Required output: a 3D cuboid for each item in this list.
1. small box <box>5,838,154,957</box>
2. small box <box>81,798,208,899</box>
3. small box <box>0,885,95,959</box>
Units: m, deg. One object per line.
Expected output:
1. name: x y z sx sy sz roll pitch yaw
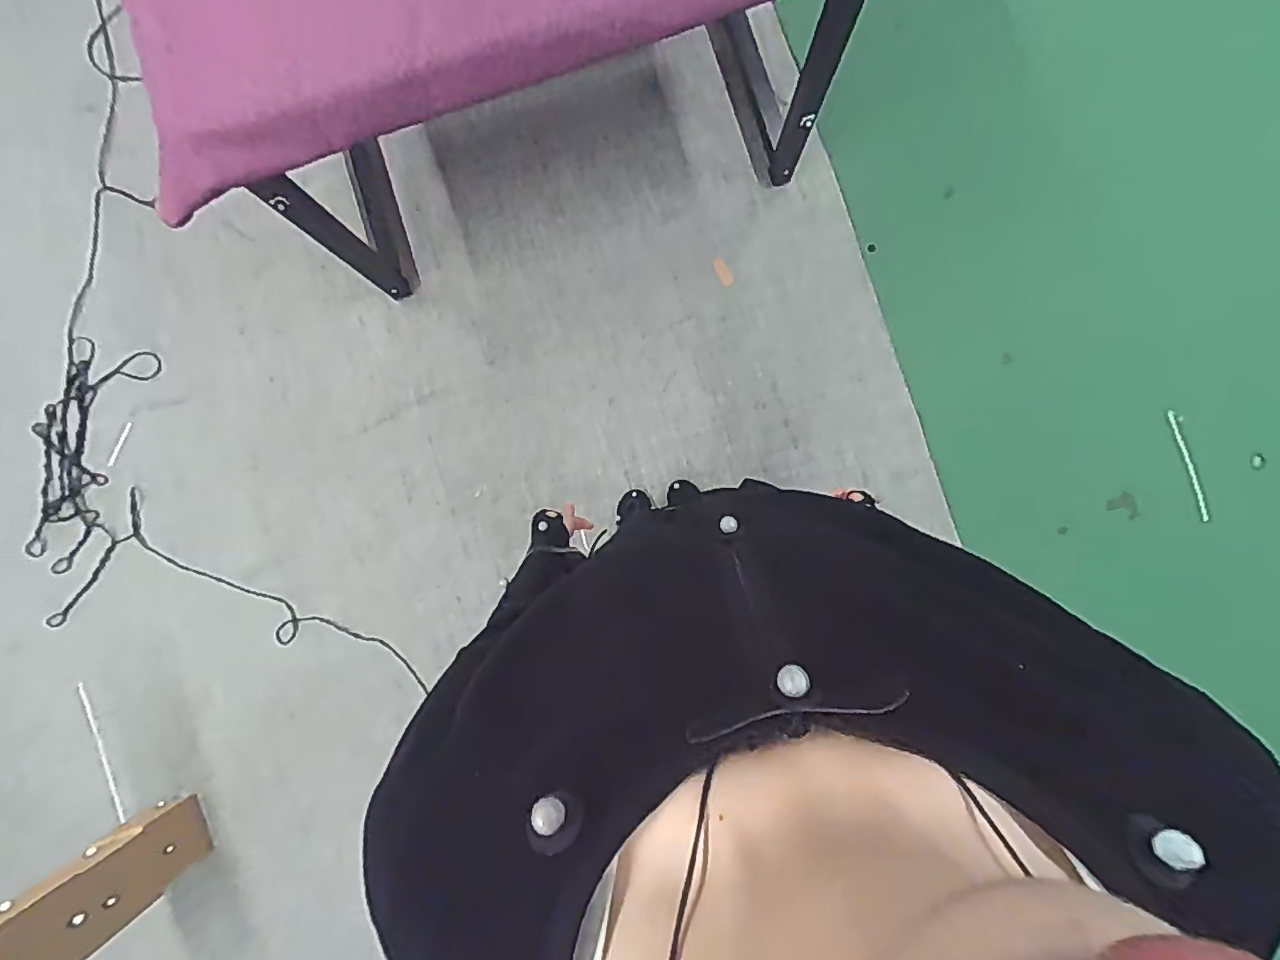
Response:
1. small box: -1.320 1.007 1.288 0.168 0.176 0.179 -19 88 0
2. small box: -1.318 1.002 1.452 0.168 0.176 0.179 -19 87 1
3. small box: -1.312 0.992 1.125 0.168 0.176 0.179 -21 87 1
